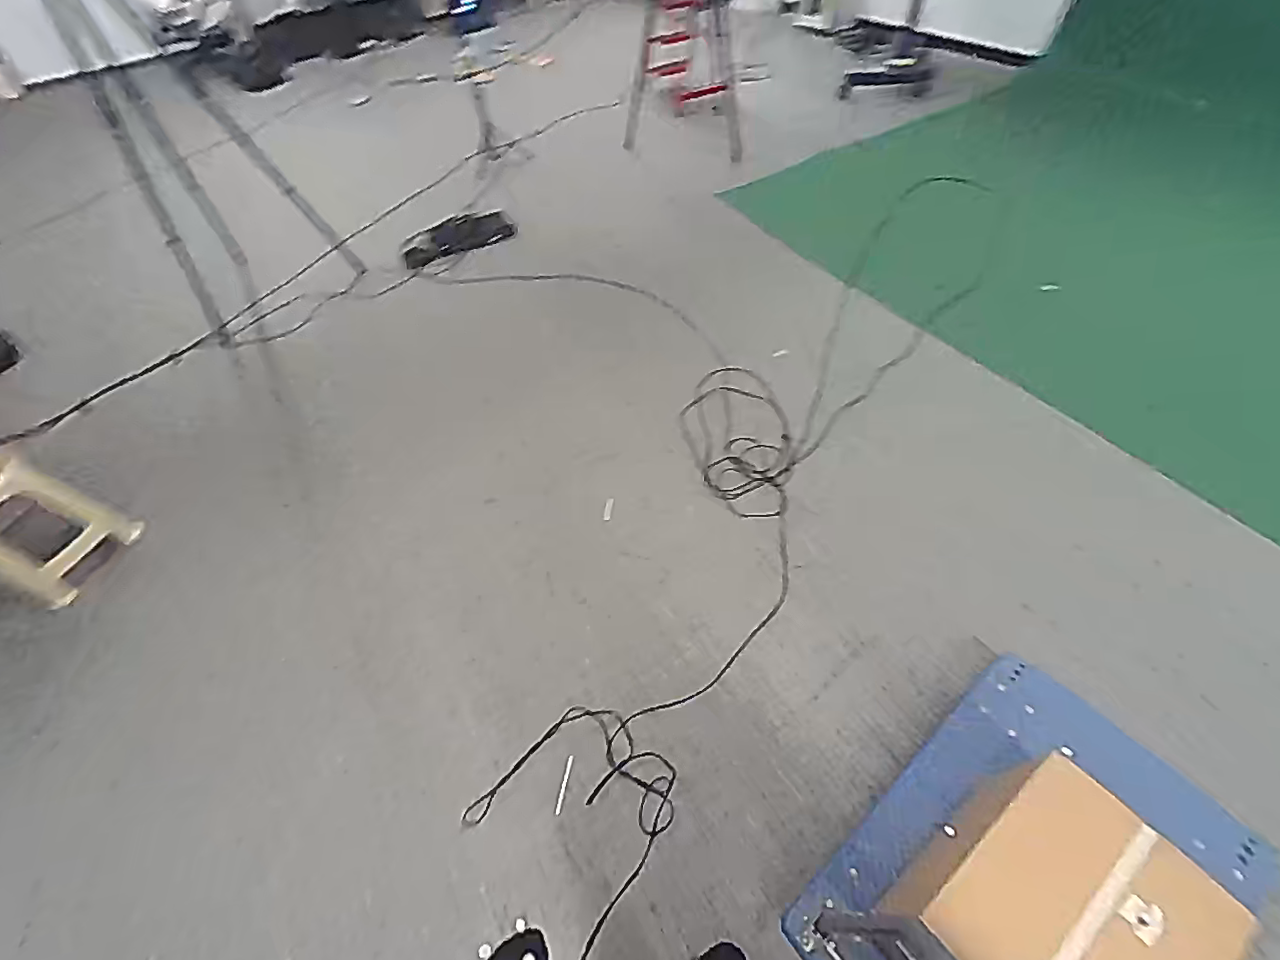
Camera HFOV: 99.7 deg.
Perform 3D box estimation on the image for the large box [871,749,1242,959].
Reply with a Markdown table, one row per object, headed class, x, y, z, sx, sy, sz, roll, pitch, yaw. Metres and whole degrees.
| class | x | y | z | sx | sy | sz | roll | pitch | yaw |
| --- | --- | --- | --- | --- | --- | --- | --- | --- | --- |
| large box | 0.691 | 0.775 | 0.956 | 0.408 | 0.320 | 0.320 | -33 | 57 | -20 |
